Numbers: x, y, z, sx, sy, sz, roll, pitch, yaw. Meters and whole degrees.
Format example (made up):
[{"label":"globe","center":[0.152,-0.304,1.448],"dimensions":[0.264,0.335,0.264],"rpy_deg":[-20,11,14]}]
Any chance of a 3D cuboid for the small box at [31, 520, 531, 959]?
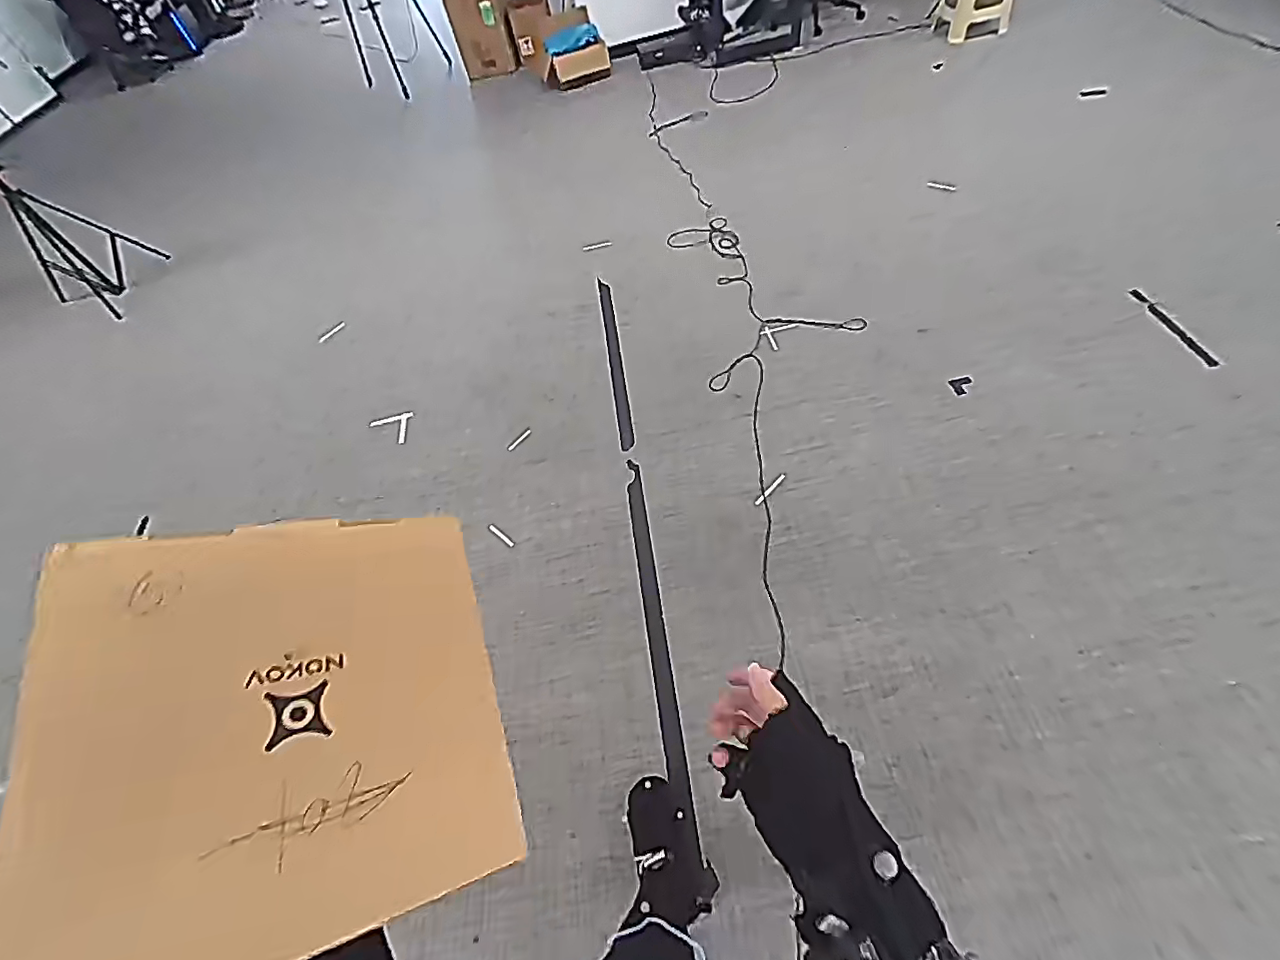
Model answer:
[{"label":"small box","center":[-0.181,0.140,0.298],"dimensions":[0.168,0.176,0.179],"rpy_deg":[-1,58,-35]}]
